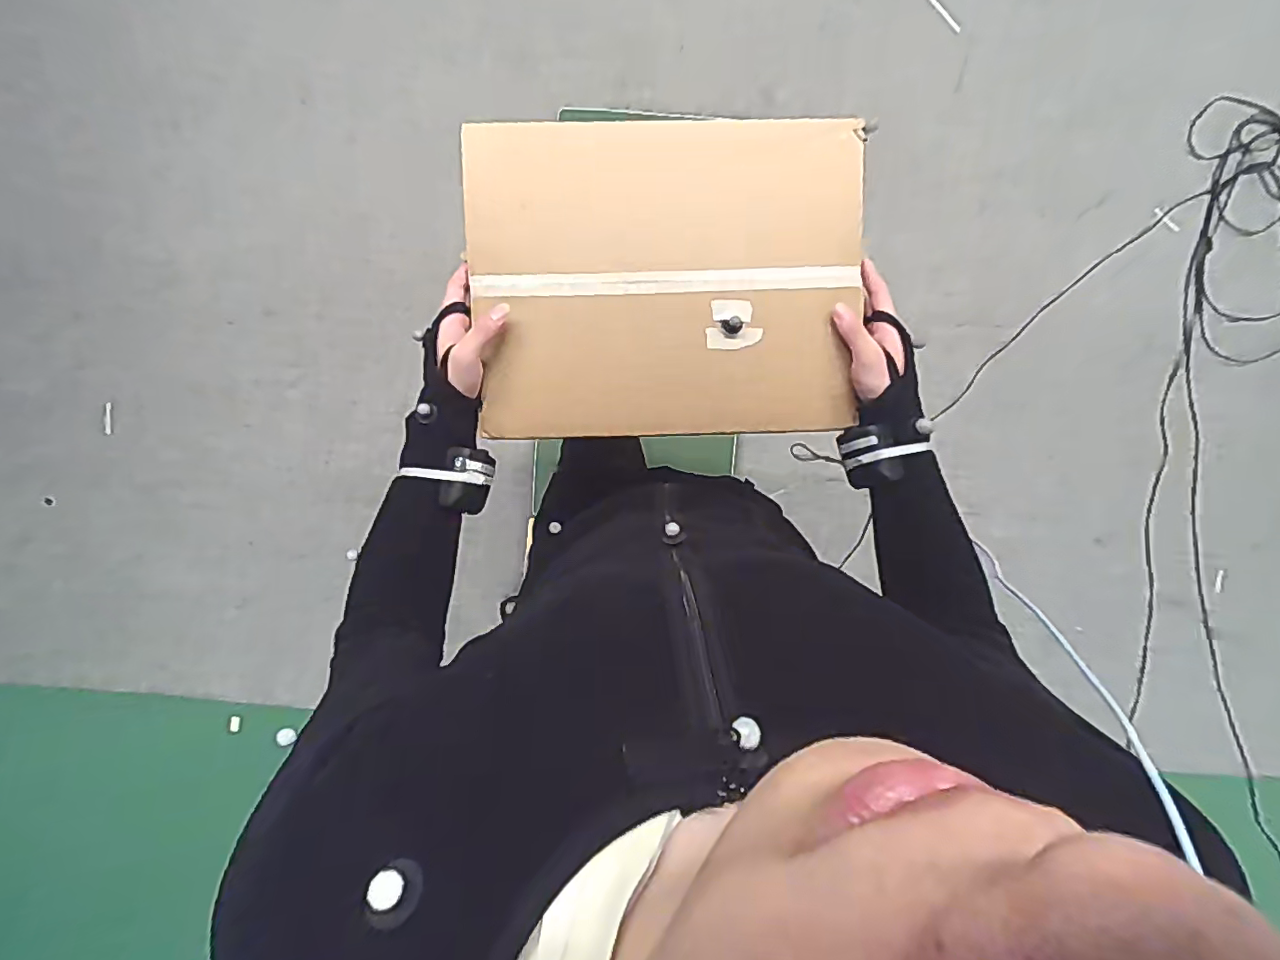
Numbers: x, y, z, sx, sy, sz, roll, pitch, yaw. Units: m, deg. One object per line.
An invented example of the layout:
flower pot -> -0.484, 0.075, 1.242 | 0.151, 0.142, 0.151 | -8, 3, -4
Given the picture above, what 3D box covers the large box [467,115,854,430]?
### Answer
large box -> 0.021, -0.230, 0.715 | 0.408, 0.320, 0.320 | -2, 96, -2
